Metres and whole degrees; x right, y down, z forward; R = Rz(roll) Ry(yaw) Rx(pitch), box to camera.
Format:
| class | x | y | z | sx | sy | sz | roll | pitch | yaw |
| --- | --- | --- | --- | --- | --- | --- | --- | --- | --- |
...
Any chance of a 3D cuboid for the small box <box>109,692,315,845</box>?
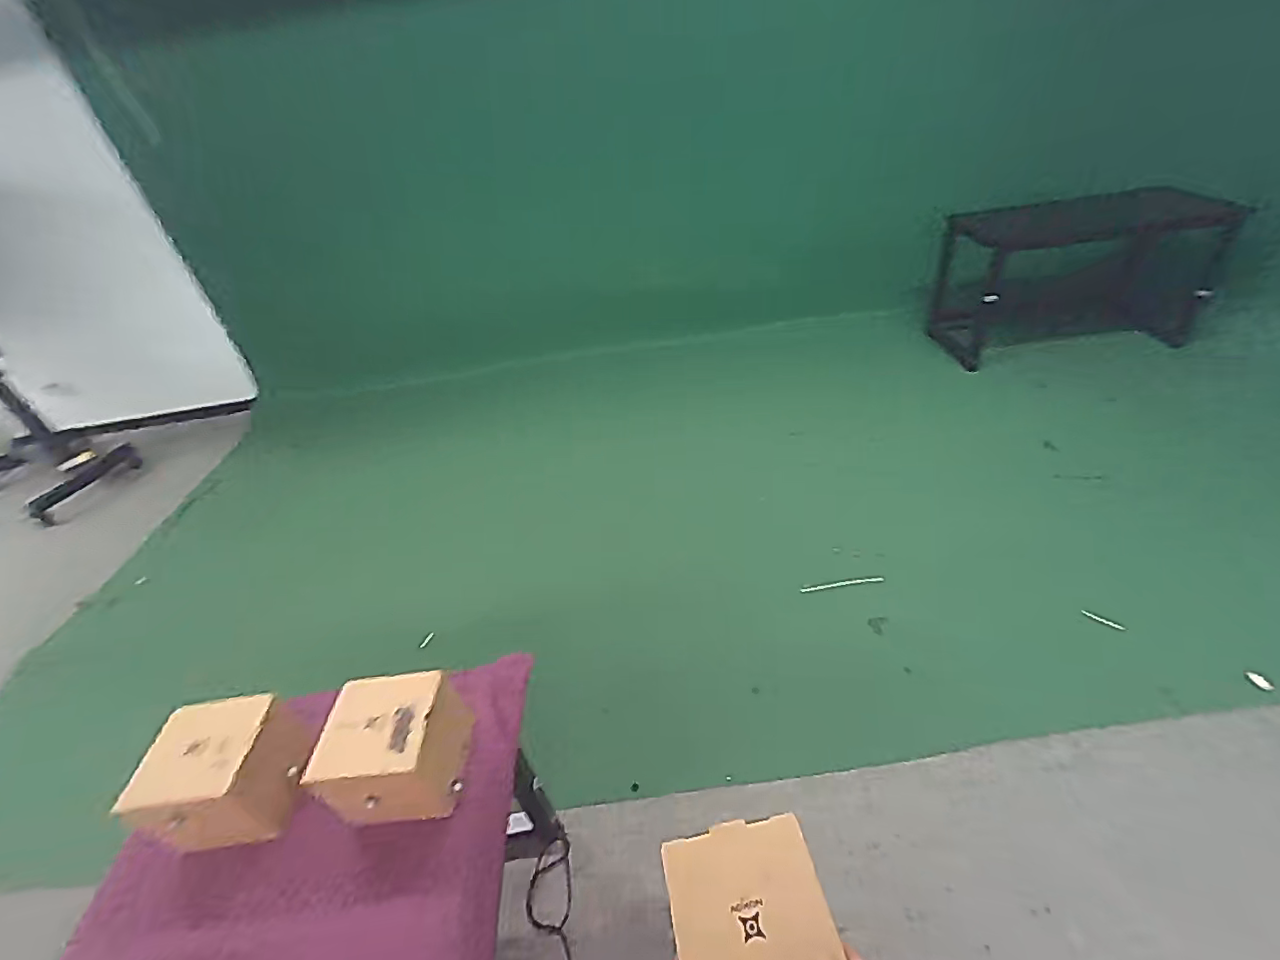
| class | x | y | z | sx | sy | sz | roll | pitch | yaw |
| --- | --- | --- | --- | --- | --- | --- | --- | --- | --- |
| small box | -0.695 | 0.484 | 0.904 | 0.179 | 0.176 | 0.168 | -8 | 39 | 0 |

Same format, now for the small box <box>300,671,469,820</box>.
| class | x | y | z | sx | sy | sz | roll | pitch | yaw |
| --- | --- | --- | --- | --- | --- | --- | --- | --- | --- |
| small box | -0.406 | 0.442 | 0.900 | 0.179 | 0.176 | 0.168 | -8 | 39 | 4 |

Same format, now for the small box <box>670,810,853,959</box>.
| class | x | y | z | sx | sy | sz | roll | pitch | yaw |
| --- | --- | --- | --- | --- | --- | --- | --- | --- | --- |
| small box | 0.135 | 0.519 | 0.621 | 0.168 | 0.176 | 0.179 | -12 | 39 | -1 |
